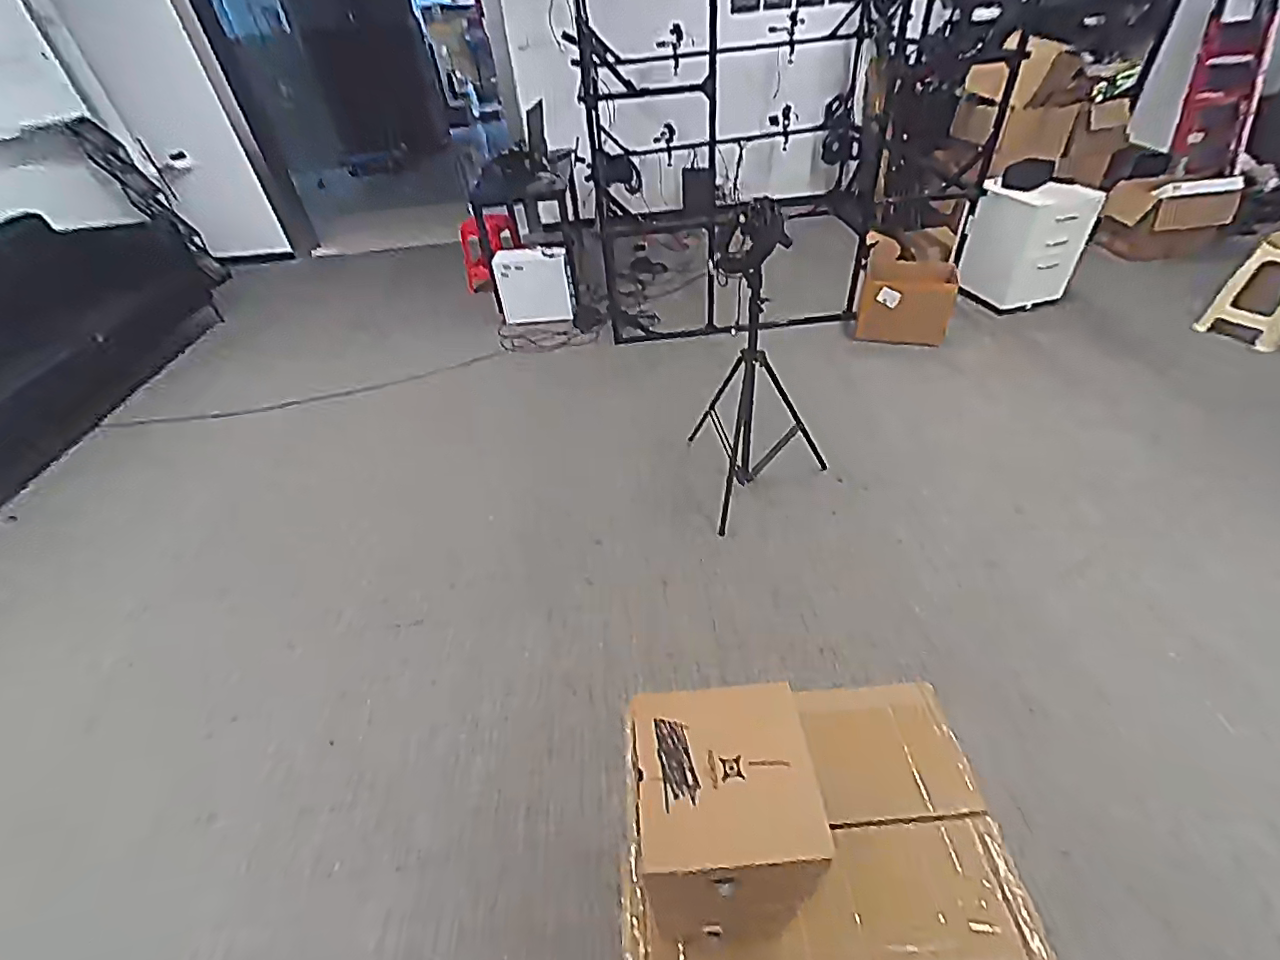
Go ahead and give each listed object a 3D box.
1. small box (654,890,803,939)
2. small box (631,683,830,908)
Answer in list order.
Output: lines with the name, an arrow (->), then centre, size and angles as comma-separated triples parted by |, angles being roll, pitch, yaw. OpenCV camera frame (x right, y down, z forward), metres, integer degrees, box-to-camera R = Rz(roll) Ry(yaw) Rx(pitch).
small box -> 0.099, 0.467, 0.703 | 0.168, 0.176, 0.179 | -6, 43, 1
small box -> 0.087, 0.346, 0.591 | 0.179, 0.176, 0.168 | -5, 42, 0
